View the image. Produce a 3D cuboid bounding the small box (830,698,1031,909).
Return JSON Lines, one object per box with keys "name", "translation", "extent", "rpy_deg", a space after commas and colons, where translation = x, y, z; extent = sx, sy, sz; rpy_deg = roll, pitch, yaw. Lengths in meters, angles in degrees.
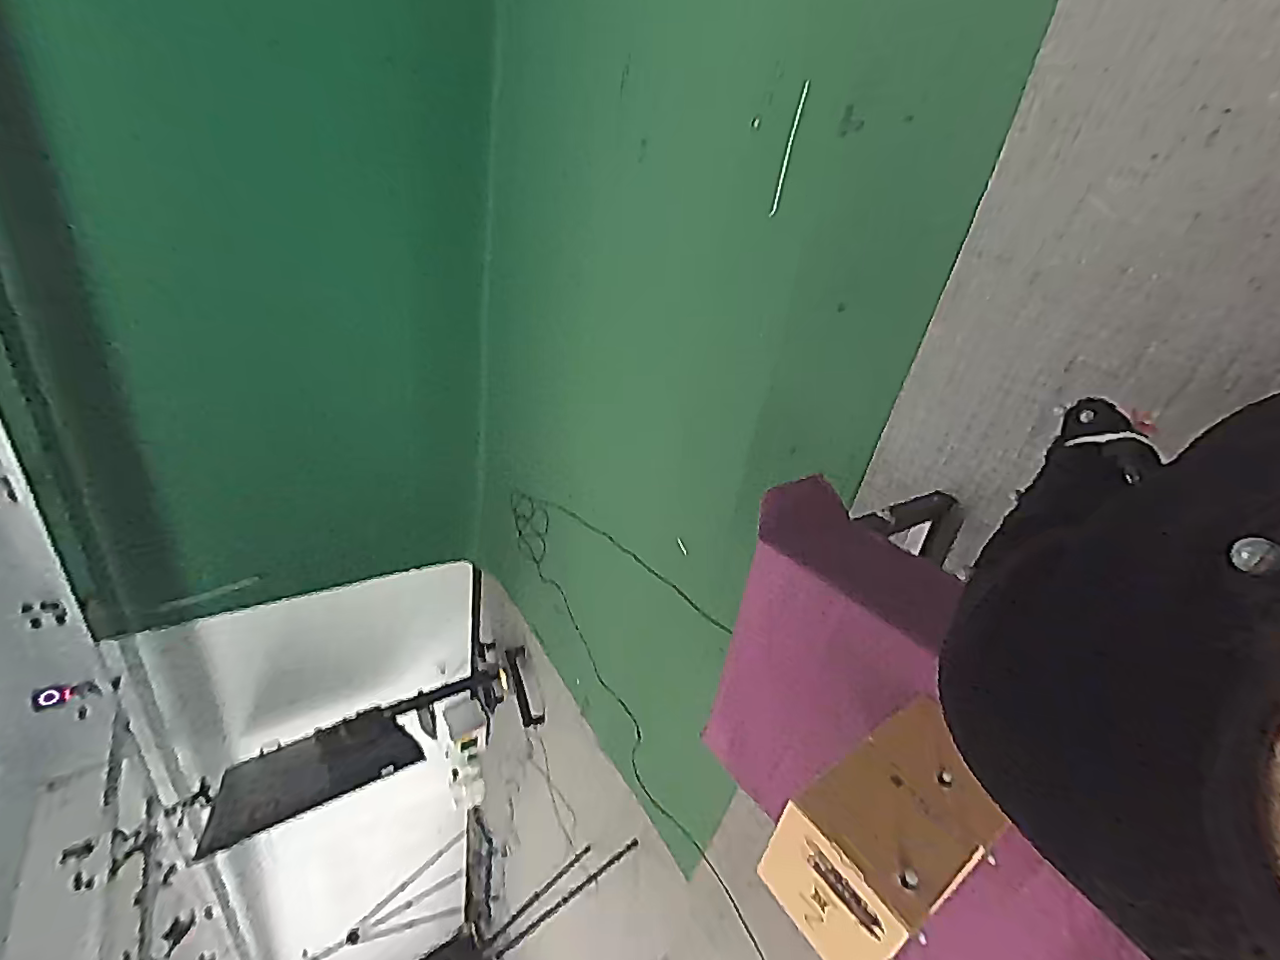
{"name": "small box", "translation": [0.424, 0.460, 0.795], "extent": [0.179, 0.176, 0.168], "rpy_deg": [41, 130, 42]}
